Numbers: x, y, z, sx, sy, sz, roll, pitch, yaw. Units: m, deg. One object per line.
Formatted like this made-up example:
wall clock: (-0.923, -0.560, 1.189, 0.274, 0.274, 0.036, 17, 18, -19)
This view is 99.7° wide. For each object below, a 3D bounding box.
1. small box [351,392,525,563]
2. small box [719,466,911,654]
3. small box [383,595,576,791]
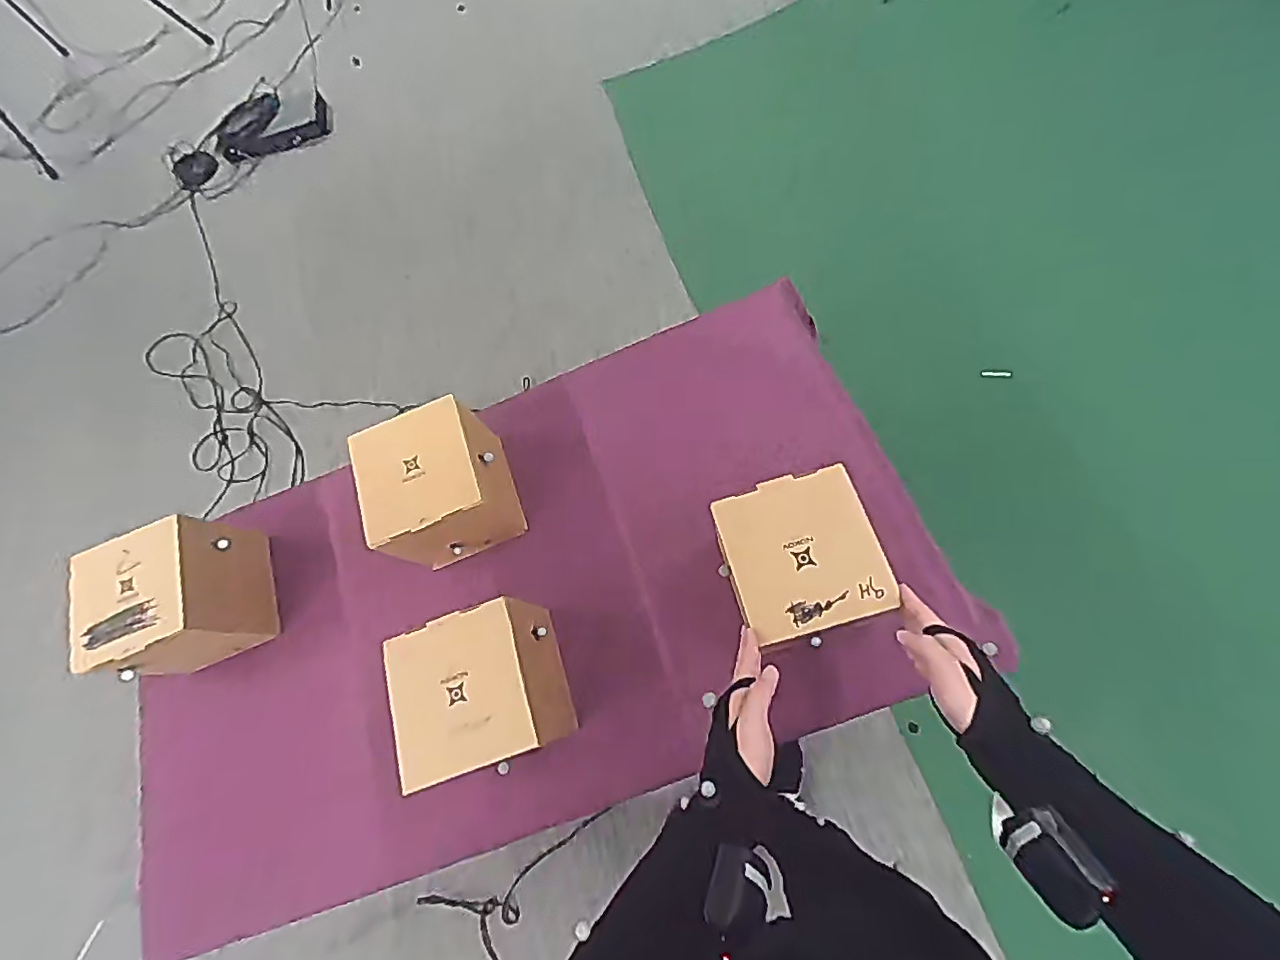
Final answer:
small box: (-0.290, 0.005, 0.799, 0.168, 0.176, 0.179, -22, 70, 1)
small box: (0.202, 0.109, 0.678, 0.168, 0.176, 0.179, -17, 68, 5)
small box: (-0.197, 0.266, 0.690, 0.168, 0.176, 0.179, -20, 68, 3)
